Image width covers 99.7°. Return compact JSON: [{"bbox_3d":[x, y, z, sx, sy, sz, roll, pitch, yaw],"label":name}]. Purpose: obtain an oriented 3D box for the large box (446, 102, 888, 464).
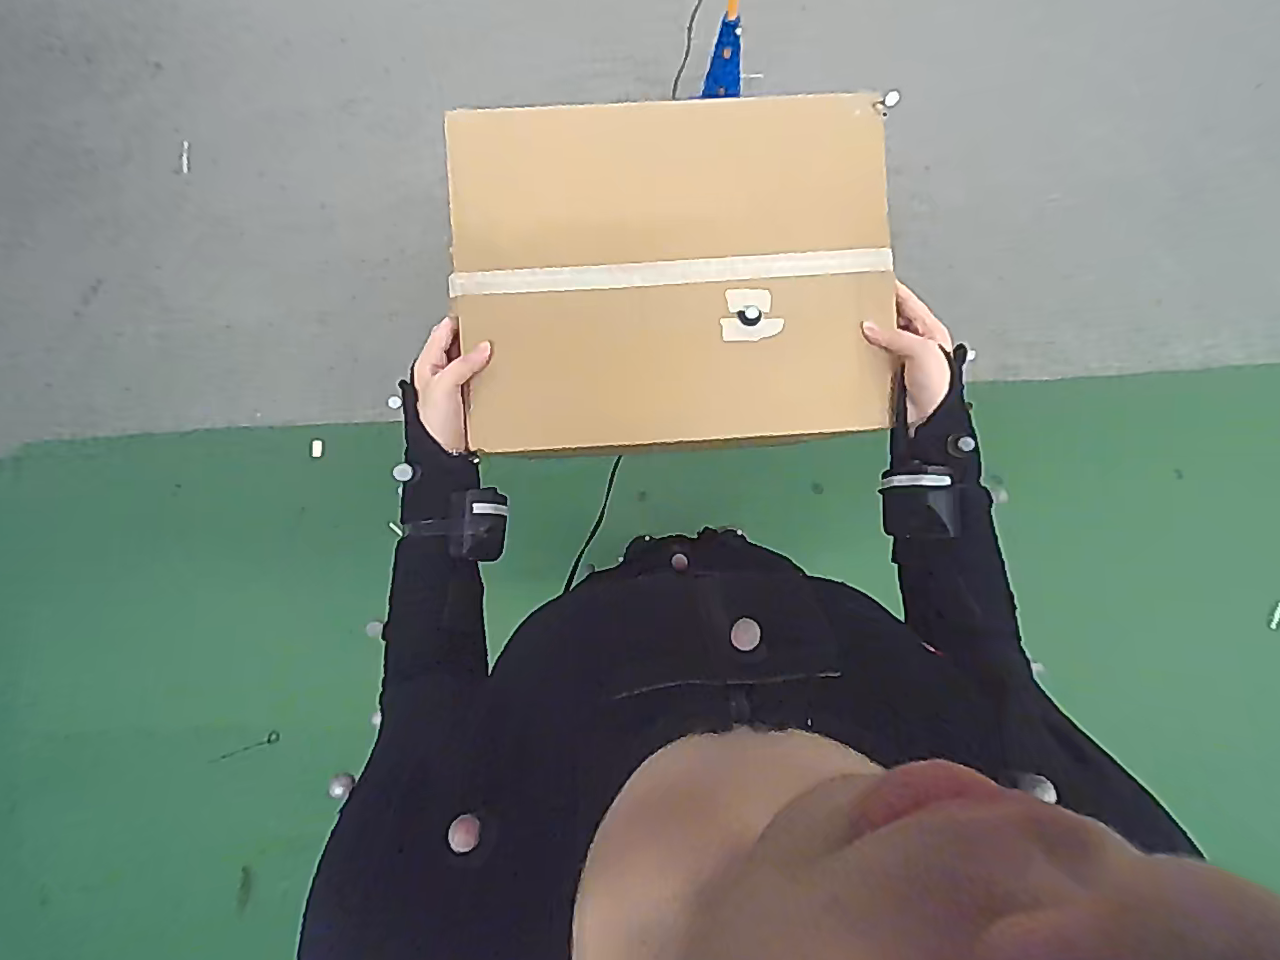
[{"bbox_3d":[0.022,-0.193,0.657,0.408,0.320,0.320,-4,91,-3],"label":"large box"}]
